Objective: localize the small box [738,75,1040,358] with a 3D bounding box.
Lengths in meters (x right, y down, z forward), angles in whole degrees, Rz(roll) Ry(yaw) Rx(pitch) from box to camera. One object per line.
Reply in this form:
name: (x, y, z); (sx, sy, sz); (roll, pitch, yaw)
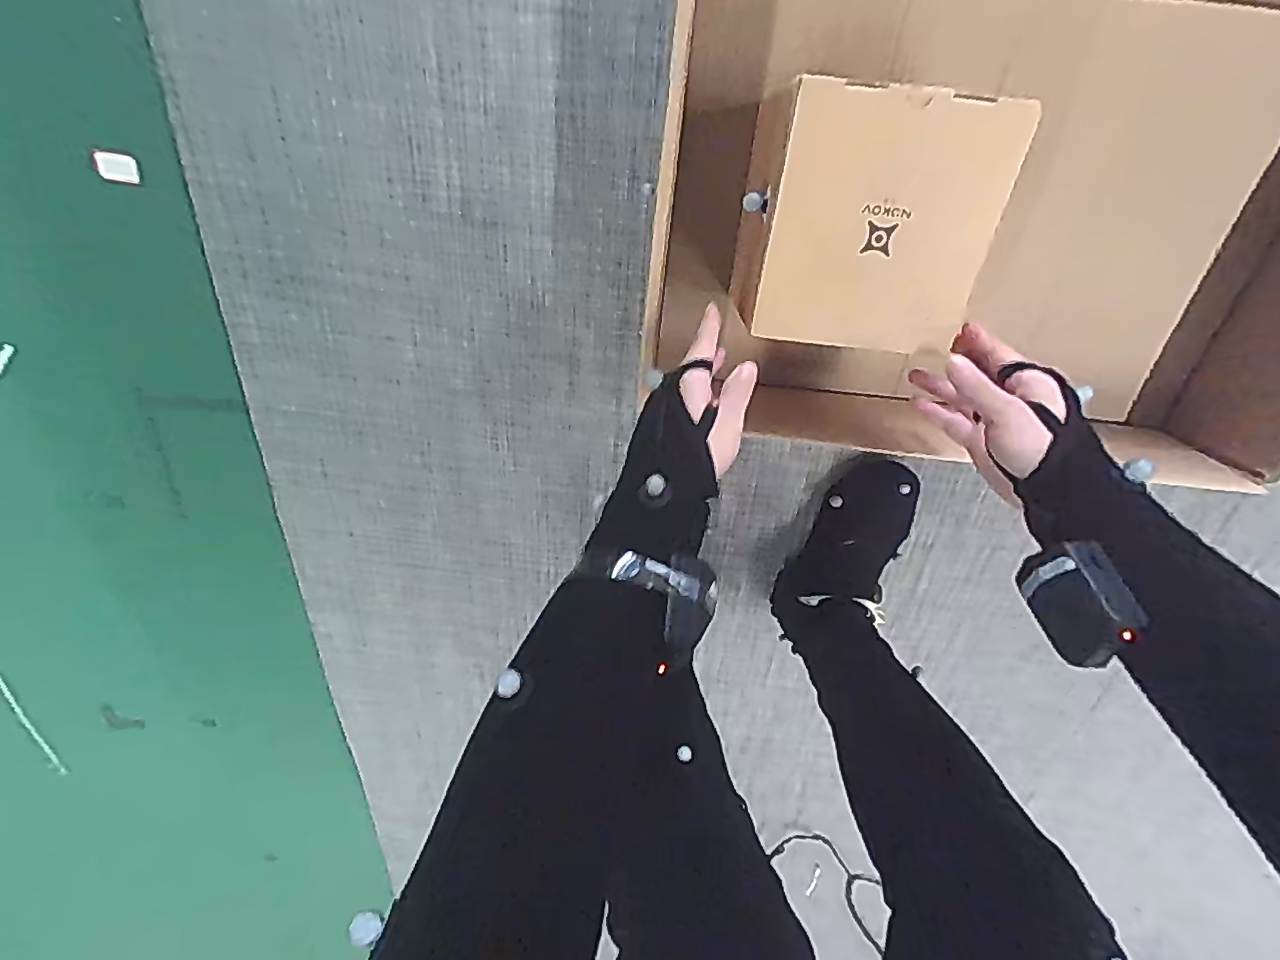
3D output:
small box: (0.185, -0.222, 0.472); (0.168, 0.176, 0.179); (7, 117, 0)
